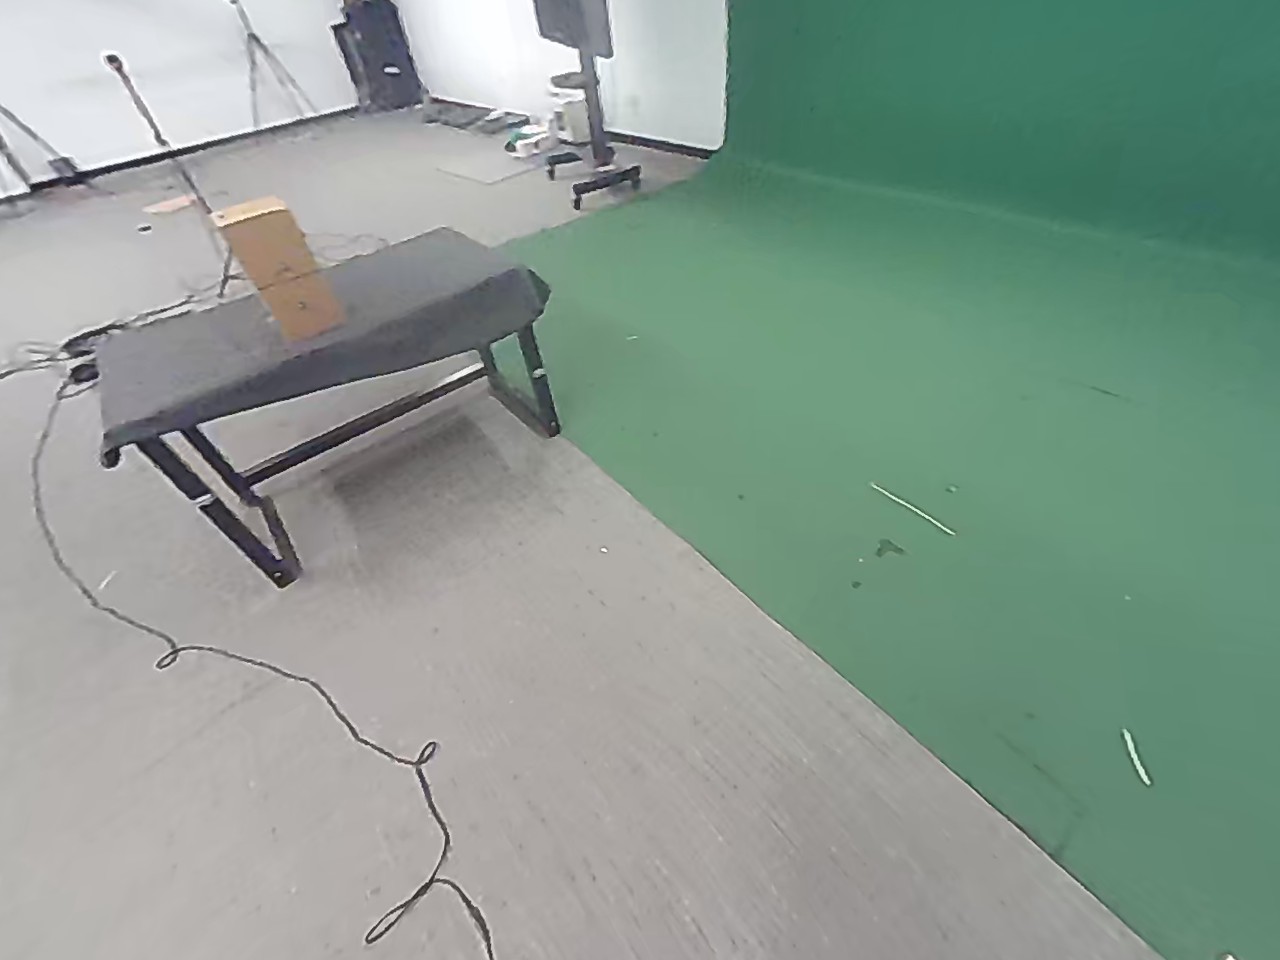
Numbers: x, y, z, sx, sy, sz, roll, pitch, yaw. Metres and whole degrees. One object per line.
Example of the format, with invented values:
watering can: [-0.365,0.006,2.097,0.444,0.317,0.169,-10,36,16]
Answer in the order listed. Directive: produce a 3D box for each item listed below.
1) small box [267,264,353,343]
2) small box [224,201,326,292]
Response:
small box: [-0.987,-0.537,1.618,0.179,0.176,0.168,-30,46,-20]
small box: [-1.005,-0.649,1.504,0.179,0.176,0.168,-31,47,-21]
